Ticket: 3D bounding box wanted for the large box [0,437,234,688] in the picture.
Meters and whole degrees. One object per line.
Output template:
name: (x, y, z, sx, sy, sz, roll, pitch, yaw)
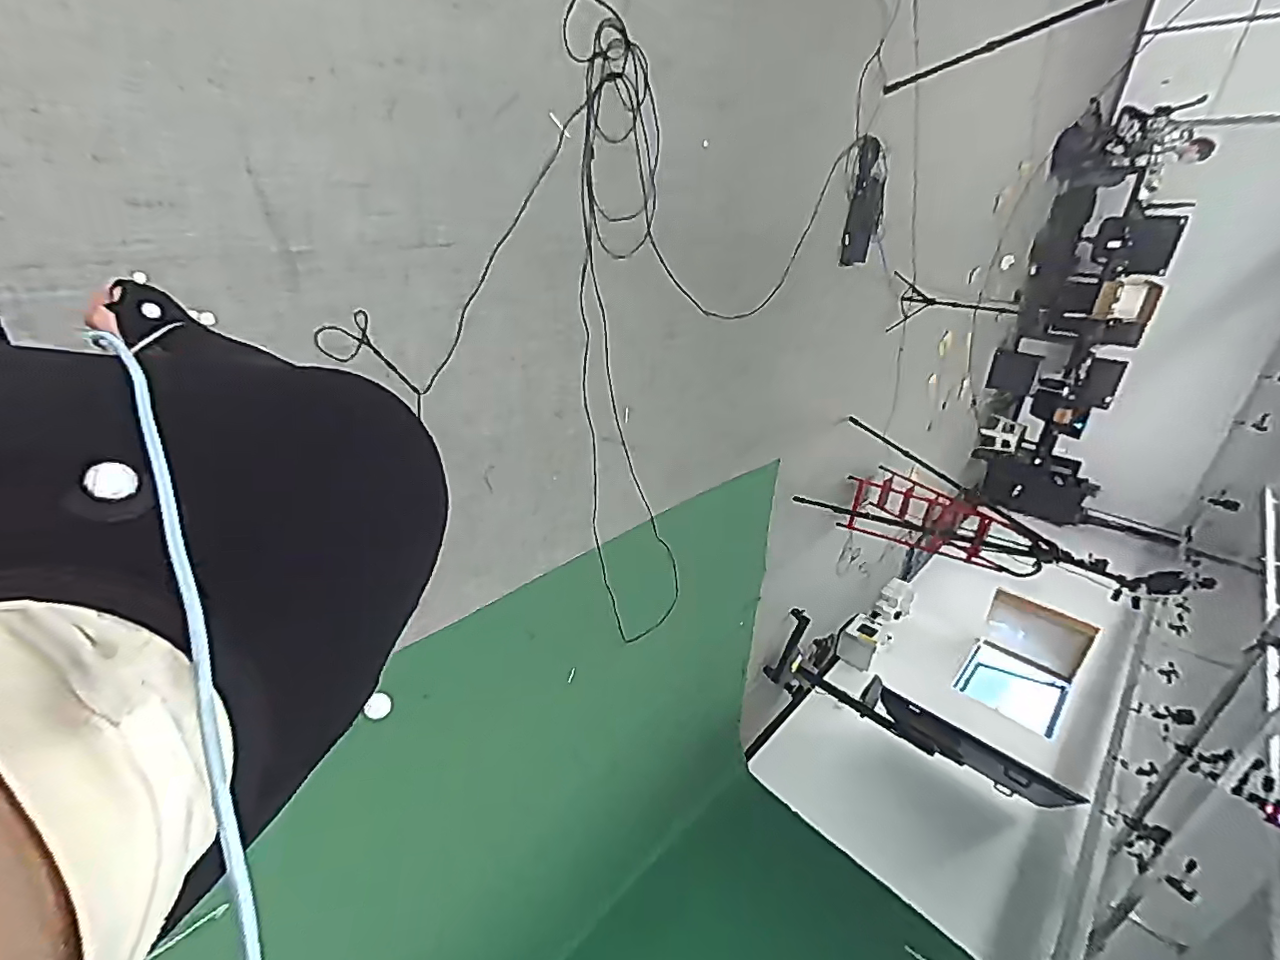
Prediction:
large box: (-1.177, 0.144, 1.145, 0.408, 0.320, 0.320, -26, 126, -37)
